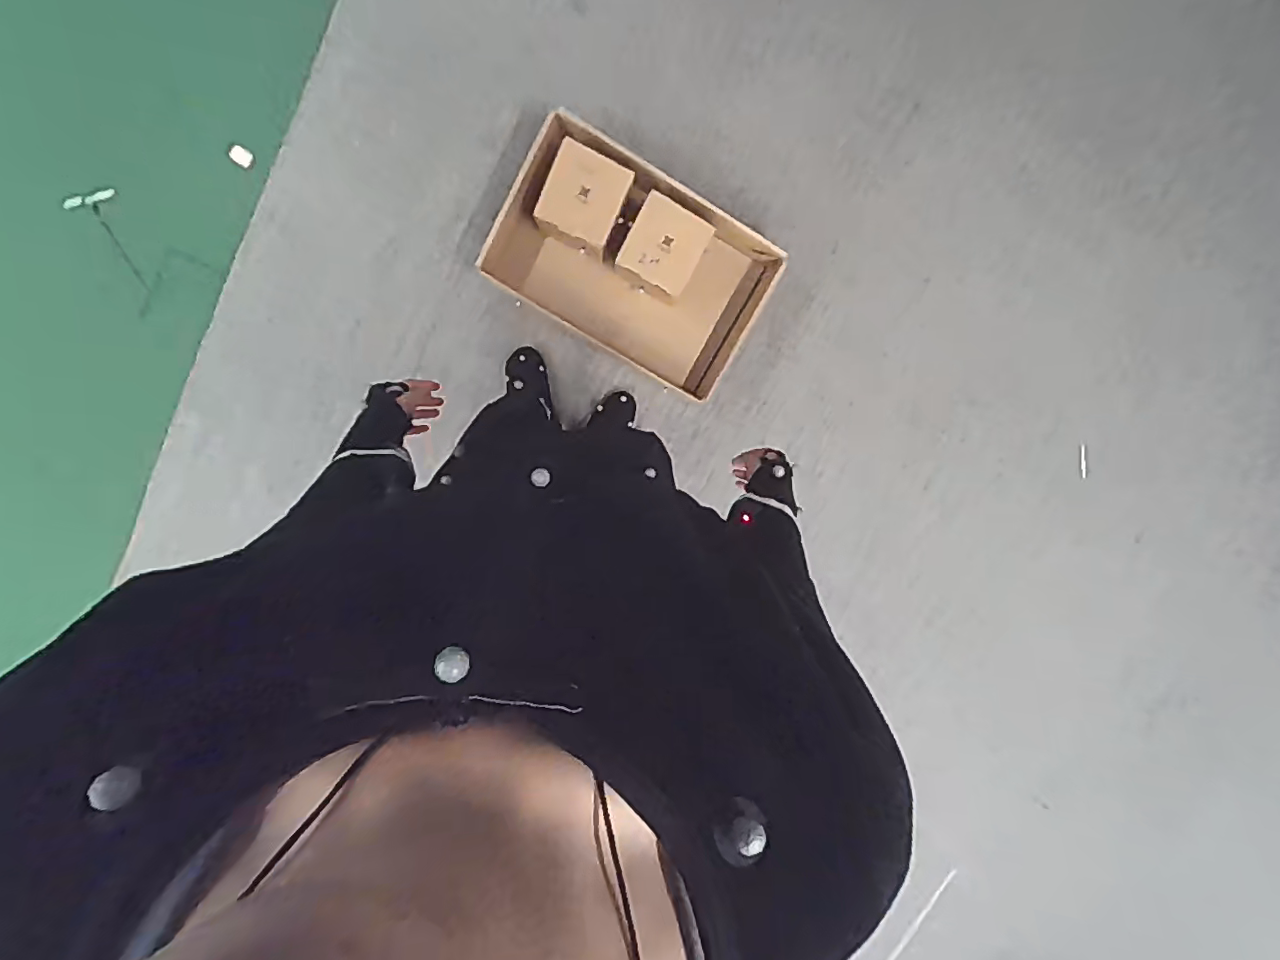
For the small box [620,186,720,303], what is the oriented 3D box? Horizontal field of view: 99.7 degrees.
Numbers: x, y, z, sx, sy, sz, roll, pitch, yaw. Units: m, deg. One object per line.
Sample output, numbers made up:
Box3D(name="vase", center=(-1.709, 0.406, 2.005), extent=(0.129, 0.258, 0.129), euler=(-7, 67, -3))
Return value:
Box3D(name="small box", center=(0.062, -0.540, 1.267), extent=(0.168, 0.176, 0.179), euler=(30, 100, -7))
